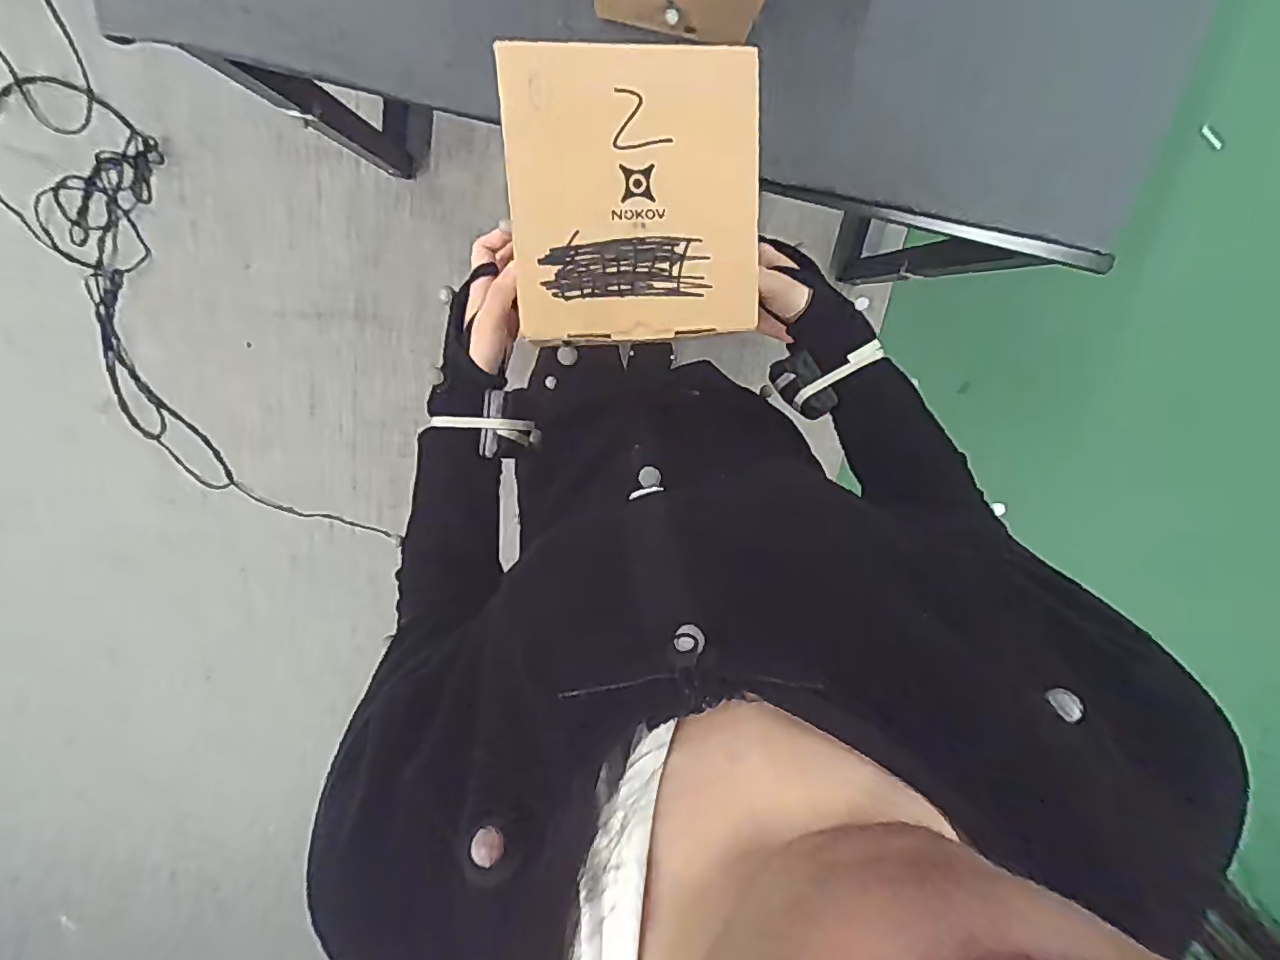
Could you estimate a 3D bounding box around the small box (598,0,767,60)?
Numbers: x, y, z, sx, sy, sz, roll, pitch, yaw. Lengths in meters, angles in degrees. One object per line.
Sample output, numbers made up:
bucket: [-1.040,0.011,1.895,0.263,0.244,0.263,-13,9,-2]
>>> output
small box: [0.050,-0.545,0.504,0.168,0.176,0.179,9,106,-6]
